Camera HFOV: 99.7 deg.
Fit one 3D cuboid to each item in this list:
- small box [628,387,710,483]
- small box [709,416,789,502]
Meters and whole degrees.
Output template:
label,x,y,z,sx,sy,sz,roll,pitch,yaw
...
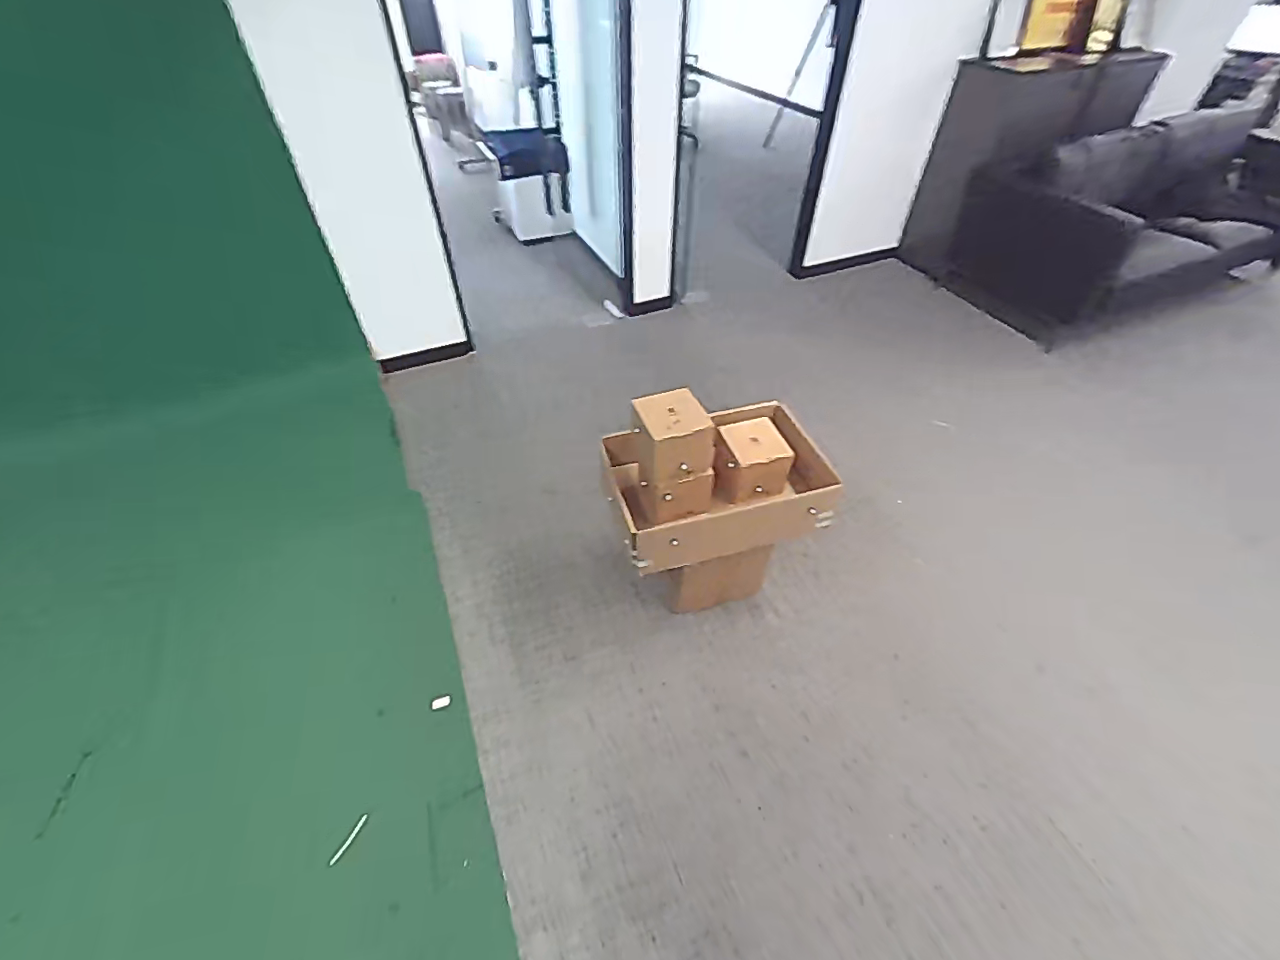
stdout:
label,x,y,z,sx,sy,sz,roll,pitch,yaw
small box,0.070,-0.120,1.447,0.168,0.176,0.179,-15,49,-14
small box,0.319,-0.062,1.627,0.168,0.176,0.179,-13,50,-13
